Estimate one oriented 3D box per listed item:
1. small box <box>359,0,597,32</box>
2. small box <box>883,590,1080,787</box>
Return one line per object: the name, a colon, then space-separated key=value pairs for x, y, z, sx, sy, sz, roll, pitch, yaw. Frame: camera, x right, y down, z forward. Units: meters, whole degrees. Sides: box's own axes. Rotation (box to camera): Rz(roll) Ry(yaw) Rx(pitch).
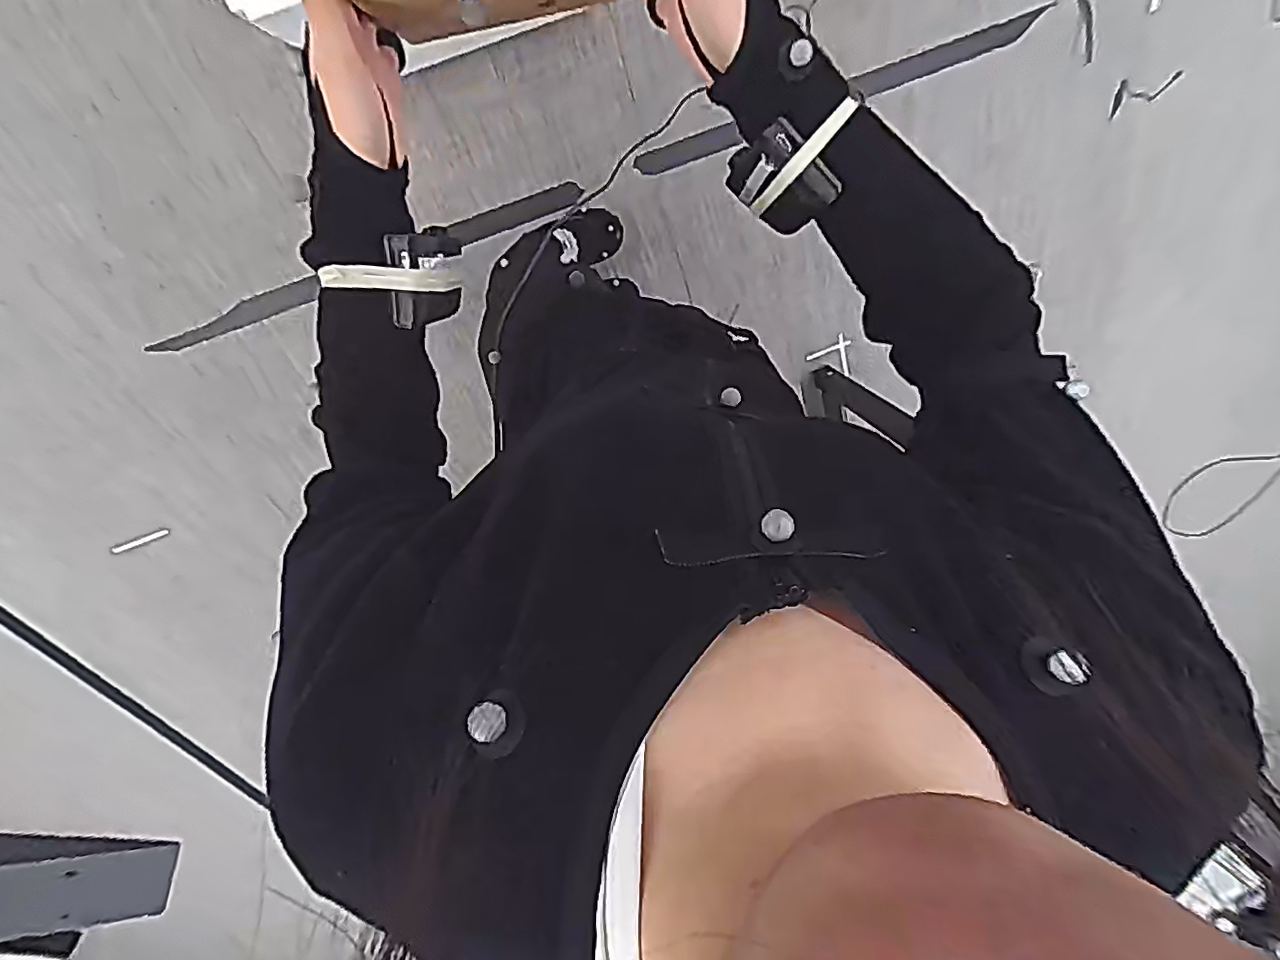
small box: x=-0.095 y=-0.362 z=0.277 sx=0.168 sy=0.176 sz=0.179 roll=-12 pitch=120 yaw=1
small box: x=0.468 y=0.290 z=0.771 sx=0.168 sy=0.176 sz=0.179 roll=-19 pitch=120 yaw=-2
